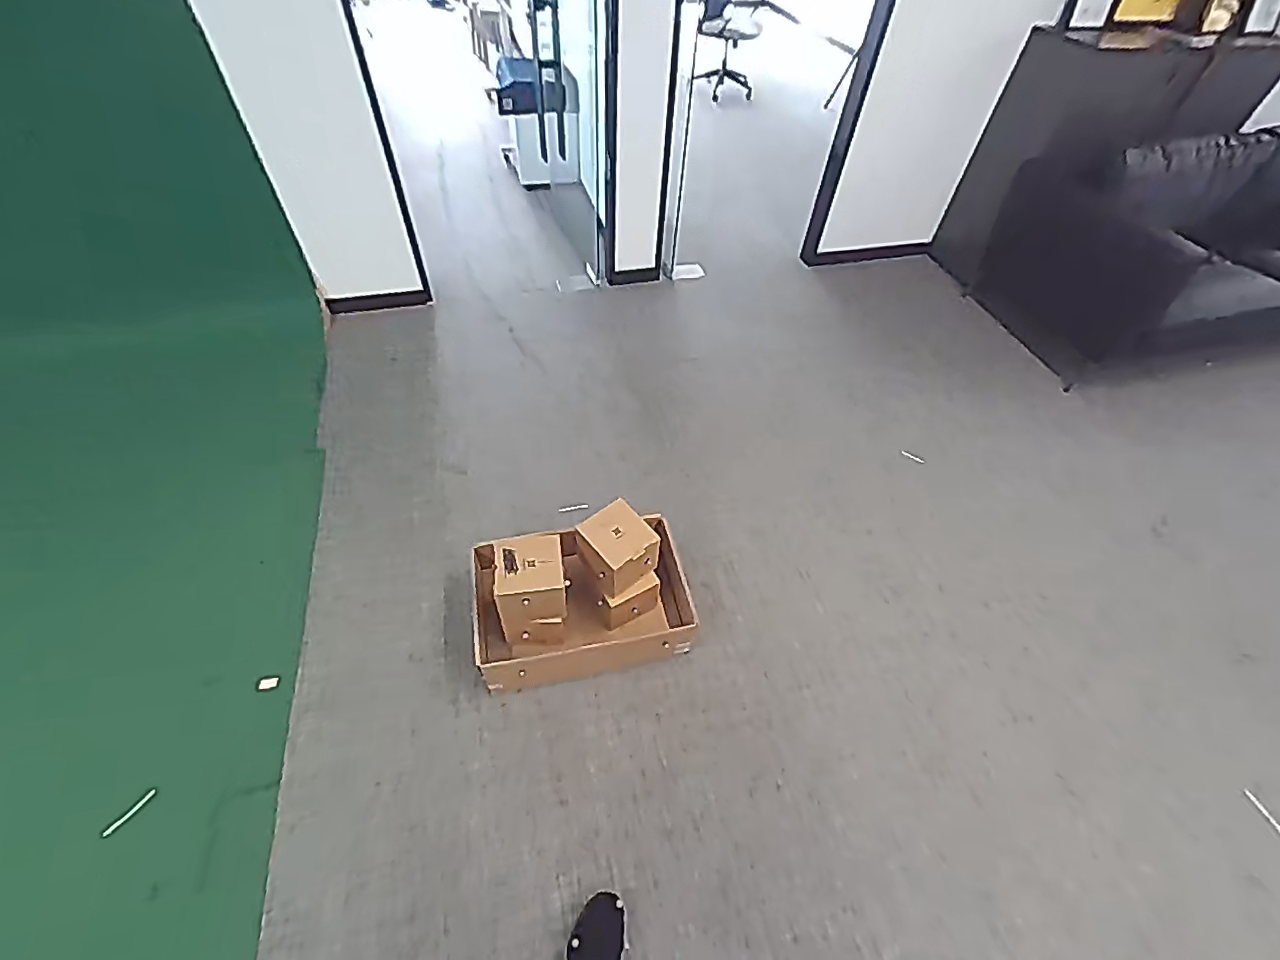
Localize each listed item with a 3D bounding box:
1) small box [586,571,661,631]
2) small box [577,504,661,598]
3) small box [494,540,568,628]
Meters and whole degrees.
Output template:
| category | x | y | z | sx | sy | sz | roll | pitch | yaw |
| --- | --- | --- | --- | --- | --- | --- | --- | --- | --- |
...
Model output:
| category | x | y | z | sx | sy | sz | roll | pitch | yaw |
| --- | --- | --- | --- | --- | --- | --- | --- | --- | --- |
| small box | -0.052 | 0.335 | 1.638 | 0.168 | 0.176 | 0.179 | -22 | 55 | -20 |
| small box | -0.059 | 0.209 | 1.529 | 0.168 | 0.176 | 0.179 | -31 | 59 | -26 |
| small box | -0.290 | 0.282 | 1.452 | 0.179 | 0.176 | 0.168 | -4 | 50 | -9 |
